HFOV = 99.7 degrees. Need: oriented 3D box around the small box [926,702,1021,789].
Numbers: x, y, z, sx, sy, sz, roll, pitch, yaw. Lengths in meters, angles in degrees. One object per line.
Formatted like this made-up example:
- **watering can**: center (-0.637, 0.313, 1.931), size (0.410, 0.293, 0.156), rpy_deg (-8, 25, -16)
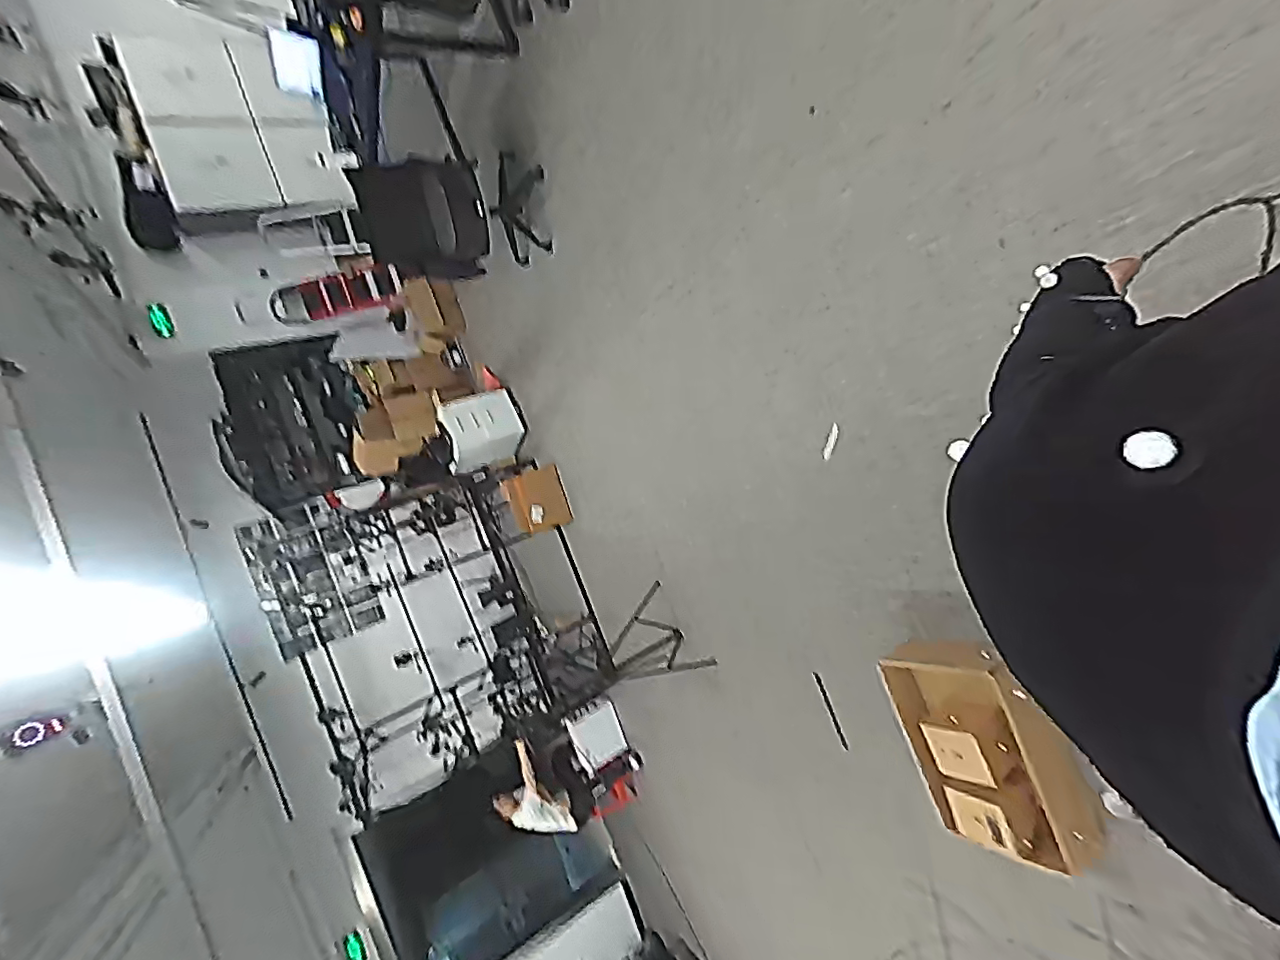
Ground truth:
- **small box**: center (1.034, 0.809, 1.667), size (0.179, 0.176, 0.168), rpy_deg (-27, 85, 61)
